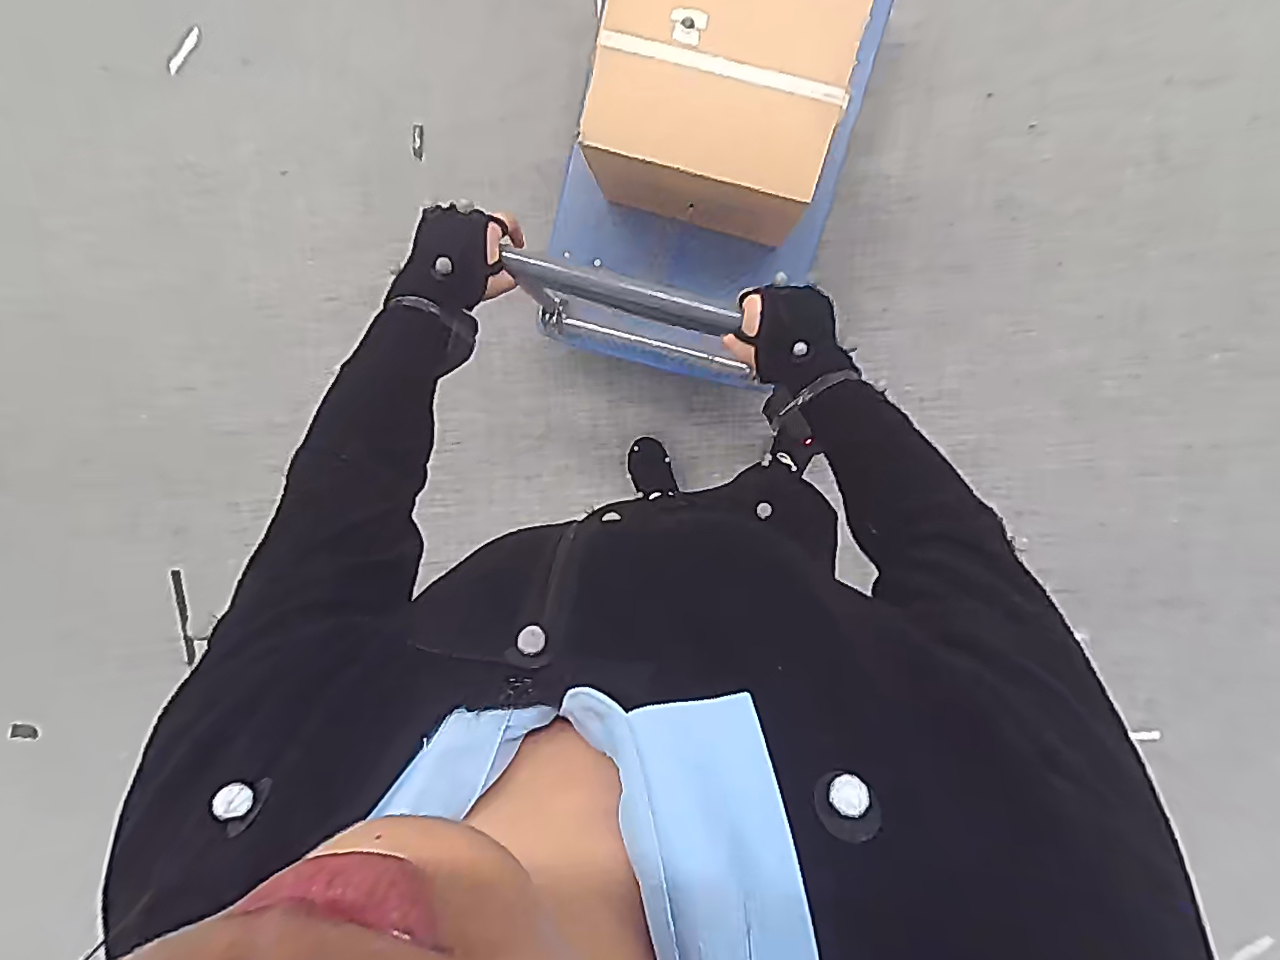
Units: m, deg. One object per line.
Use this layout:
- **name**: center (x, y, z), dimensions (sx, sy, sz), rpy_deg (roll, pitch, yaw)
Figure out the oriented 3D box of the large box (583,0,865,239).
- **large box**: center (0.145, -0.693, 1.030), dimensions (0.408, 0.320, 0.320), rpy_deg (16, 101, 3)
